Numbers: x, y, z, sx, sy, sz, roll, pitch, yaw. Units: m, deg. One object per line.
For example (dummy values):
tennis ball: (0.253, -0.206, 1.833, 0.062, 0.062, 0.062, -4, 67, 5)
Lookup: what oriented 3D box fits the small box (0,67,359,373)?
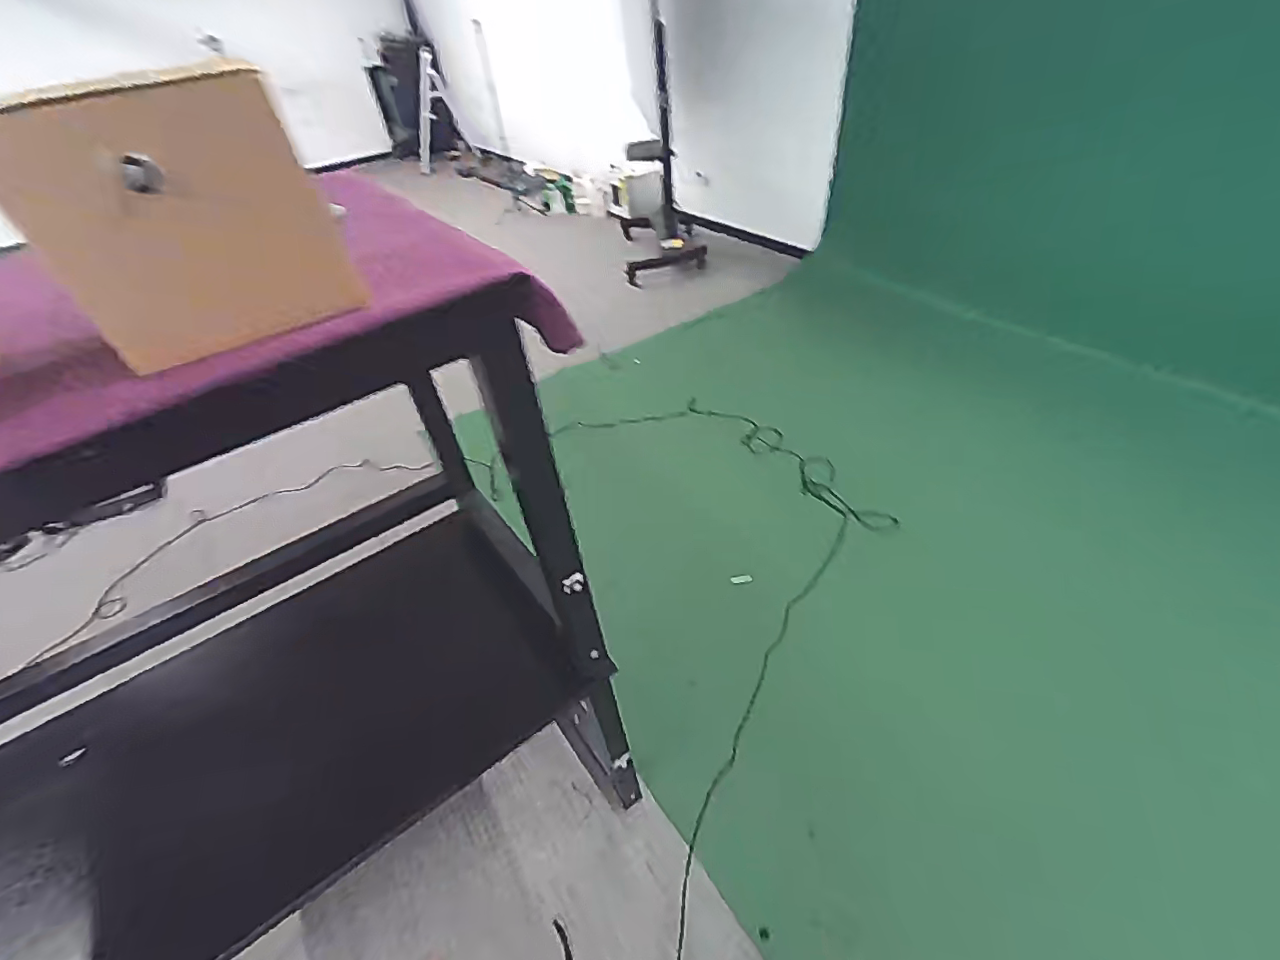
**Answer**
small box: (-0.362, -0.210, 0.433, 0.179, 0.176, 0.168, -27, 47, -20)
